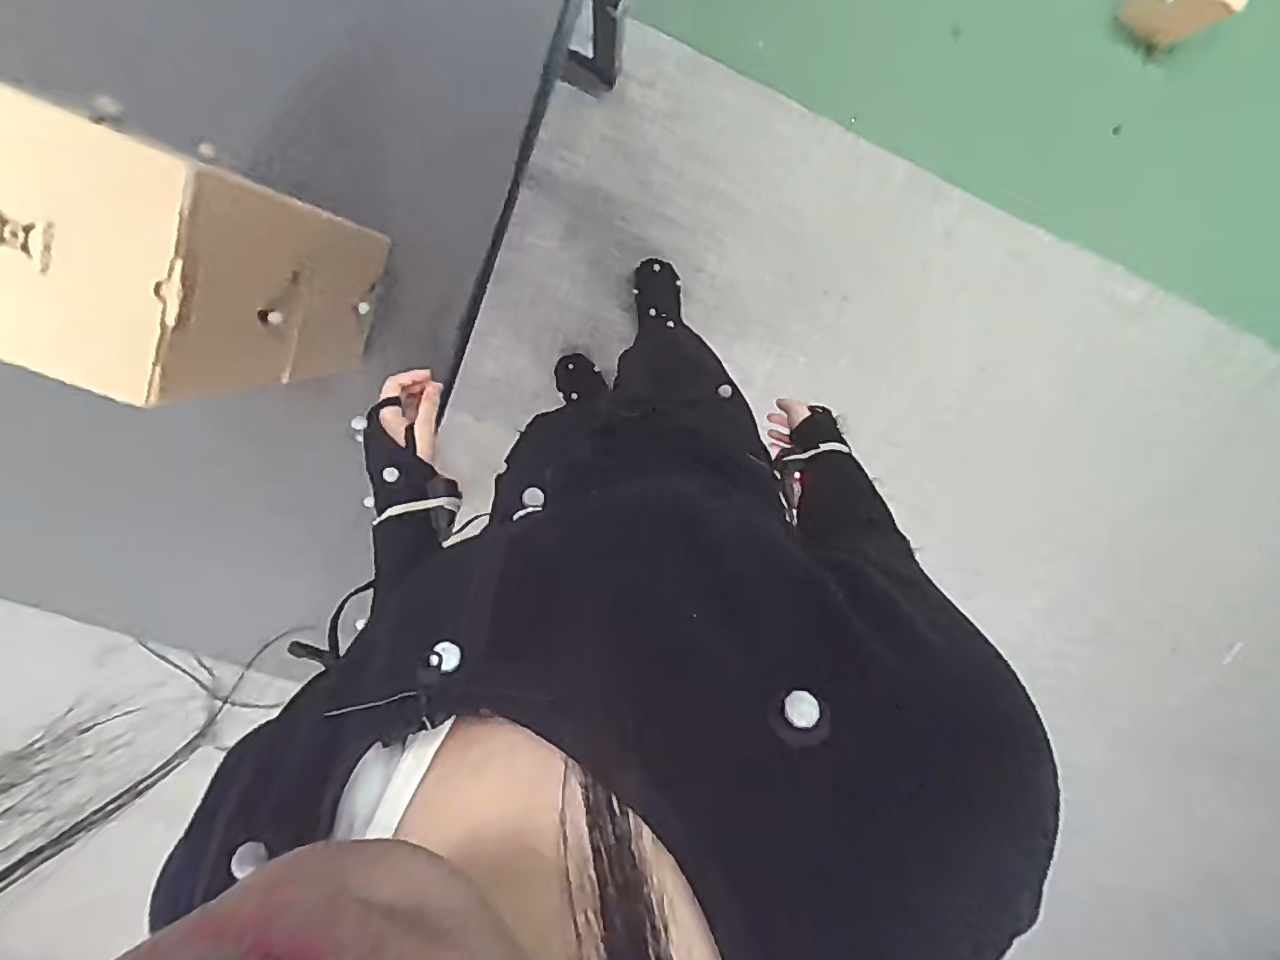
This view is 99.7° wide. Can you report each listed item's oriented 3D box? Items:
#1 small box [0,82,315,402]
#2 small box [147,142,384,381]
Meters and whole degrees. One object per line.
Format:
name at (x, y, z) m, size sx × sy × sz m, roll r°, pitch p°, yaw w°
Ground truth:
small box at (-0.393, -0.173, 0.413) m, size 0.179 × 0.176 × 0.168 m, roll 20°, pitch 103°, yaw -10°
small box at (-0.404, -0.217, 0.569) m, size 0.179 × 0.176 × 0.168 m, roll 20°, pitch 104°, yaw -9°
